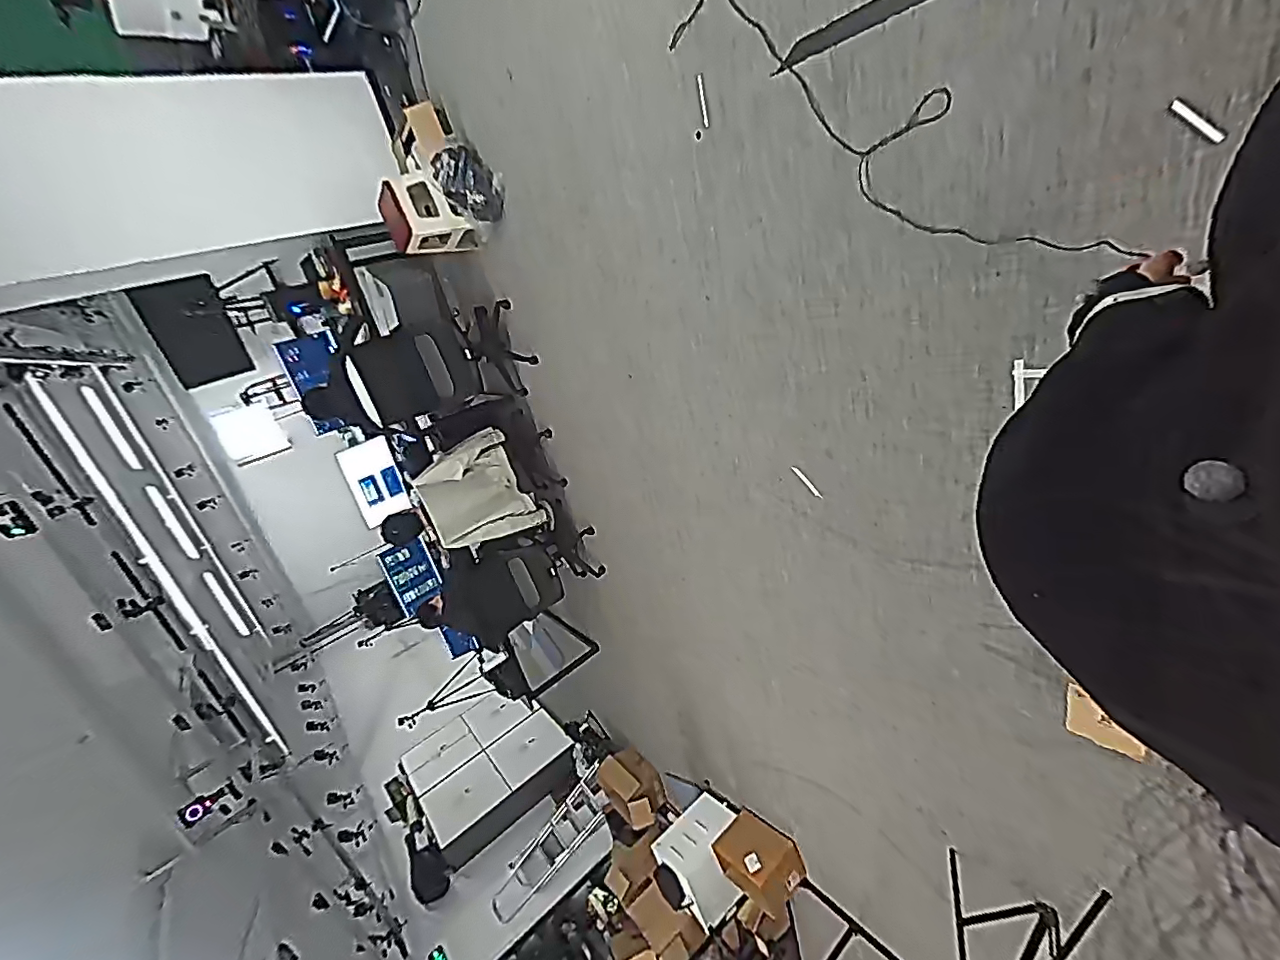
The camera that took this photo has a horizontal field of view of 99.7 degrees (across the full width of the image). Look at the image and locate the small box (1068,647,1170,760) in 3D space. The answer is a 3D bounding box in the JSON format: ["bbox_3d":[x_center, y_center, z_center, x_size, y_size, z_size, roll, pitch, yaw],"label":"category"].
[{"bbox_3d":[1.263,0.581,1.426,0.168,0.176,0.179,14,127,52],"label":"small box"}]
